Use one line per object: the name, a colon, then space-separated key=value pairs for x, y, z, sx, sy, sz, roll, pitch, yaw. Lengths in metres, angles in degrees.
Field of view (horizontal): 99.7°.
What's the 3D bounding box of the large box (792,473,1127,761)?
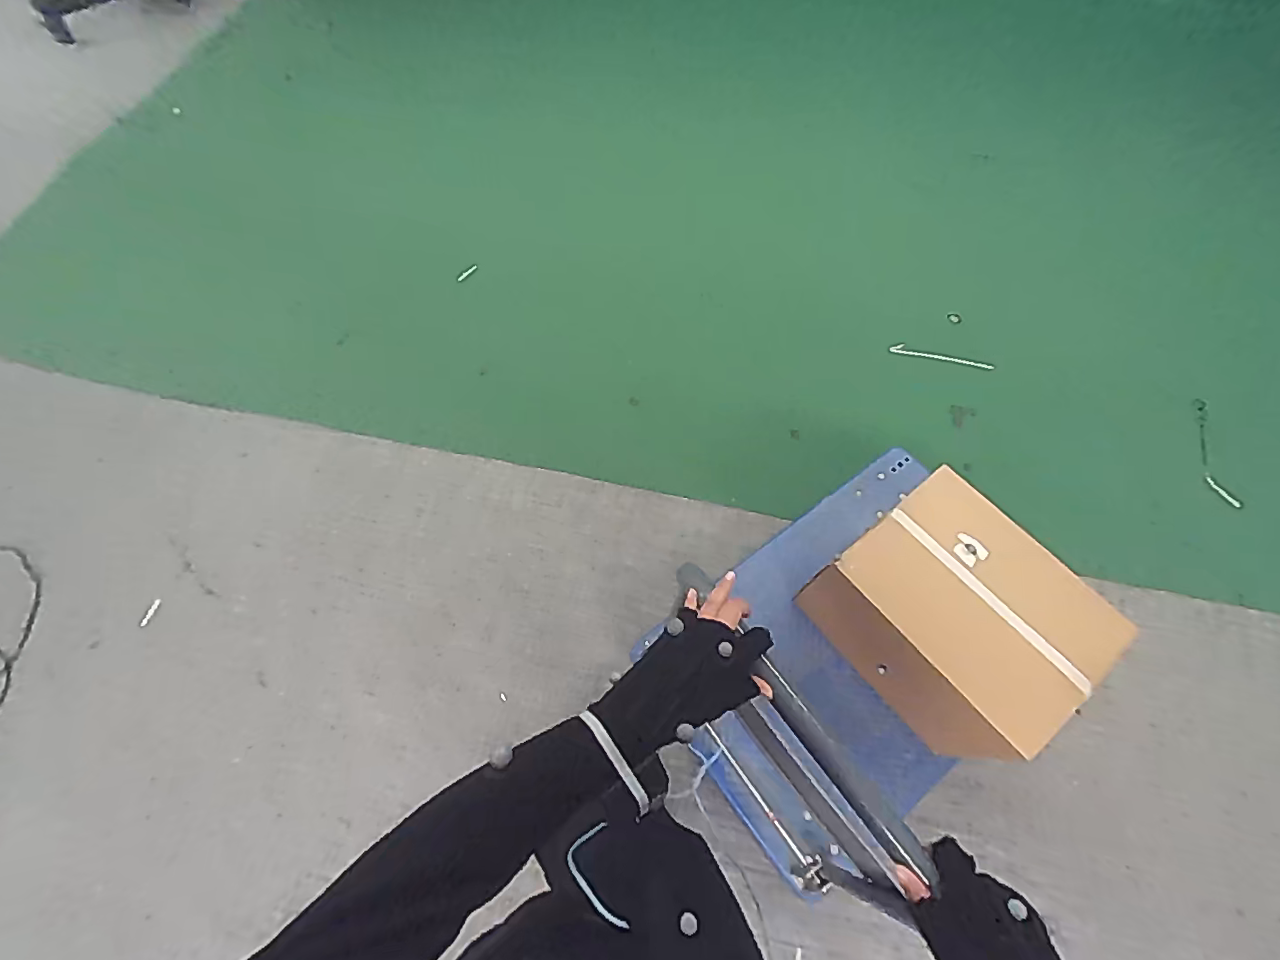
large box: x=0.573 y=0.271 z=1.059 sx=0.320 sy=0.320 sz=0.408 roll=-36 pitch=68 yaw=-15
